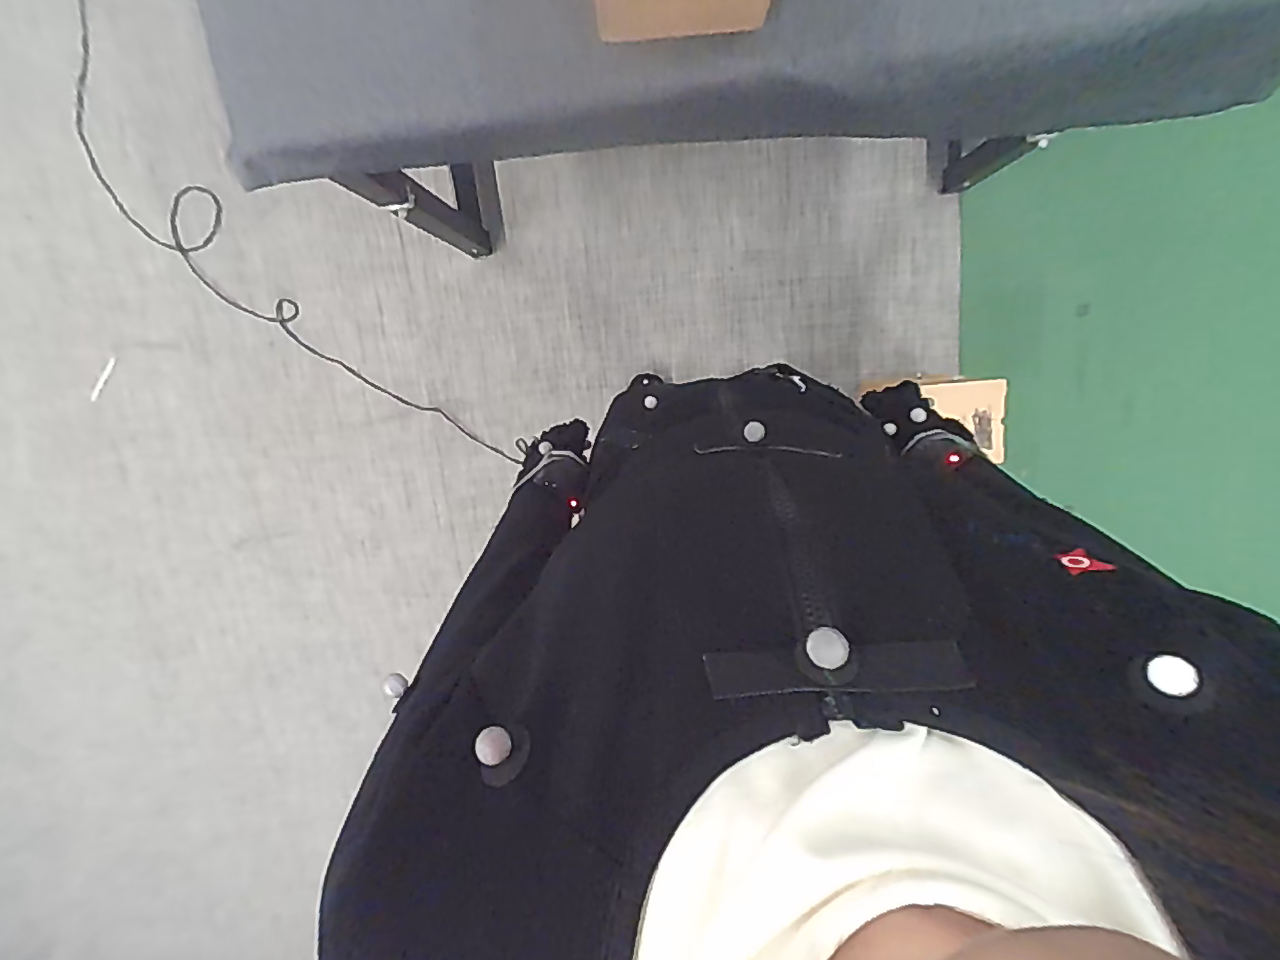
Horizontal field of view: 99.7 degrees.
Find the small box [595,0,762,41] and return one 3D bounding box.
[{"bbox_3d":[0.037,-0.544,0.496,0.179,0.176,0.168,-2,101,3],"label":"small box"}]

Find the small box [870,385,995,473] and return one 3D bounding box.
[{"bbox_3d":[0.605,-0.112,1.138,0.179,0.176,0.168,-3,100,4],"label":"small box"}]

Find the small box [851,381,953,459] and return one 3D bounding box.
[{"bbox_3d":[0.623,-0.147,1.299,0.179,0.176,0.168,-6,100,5],"label":"small box"}]
